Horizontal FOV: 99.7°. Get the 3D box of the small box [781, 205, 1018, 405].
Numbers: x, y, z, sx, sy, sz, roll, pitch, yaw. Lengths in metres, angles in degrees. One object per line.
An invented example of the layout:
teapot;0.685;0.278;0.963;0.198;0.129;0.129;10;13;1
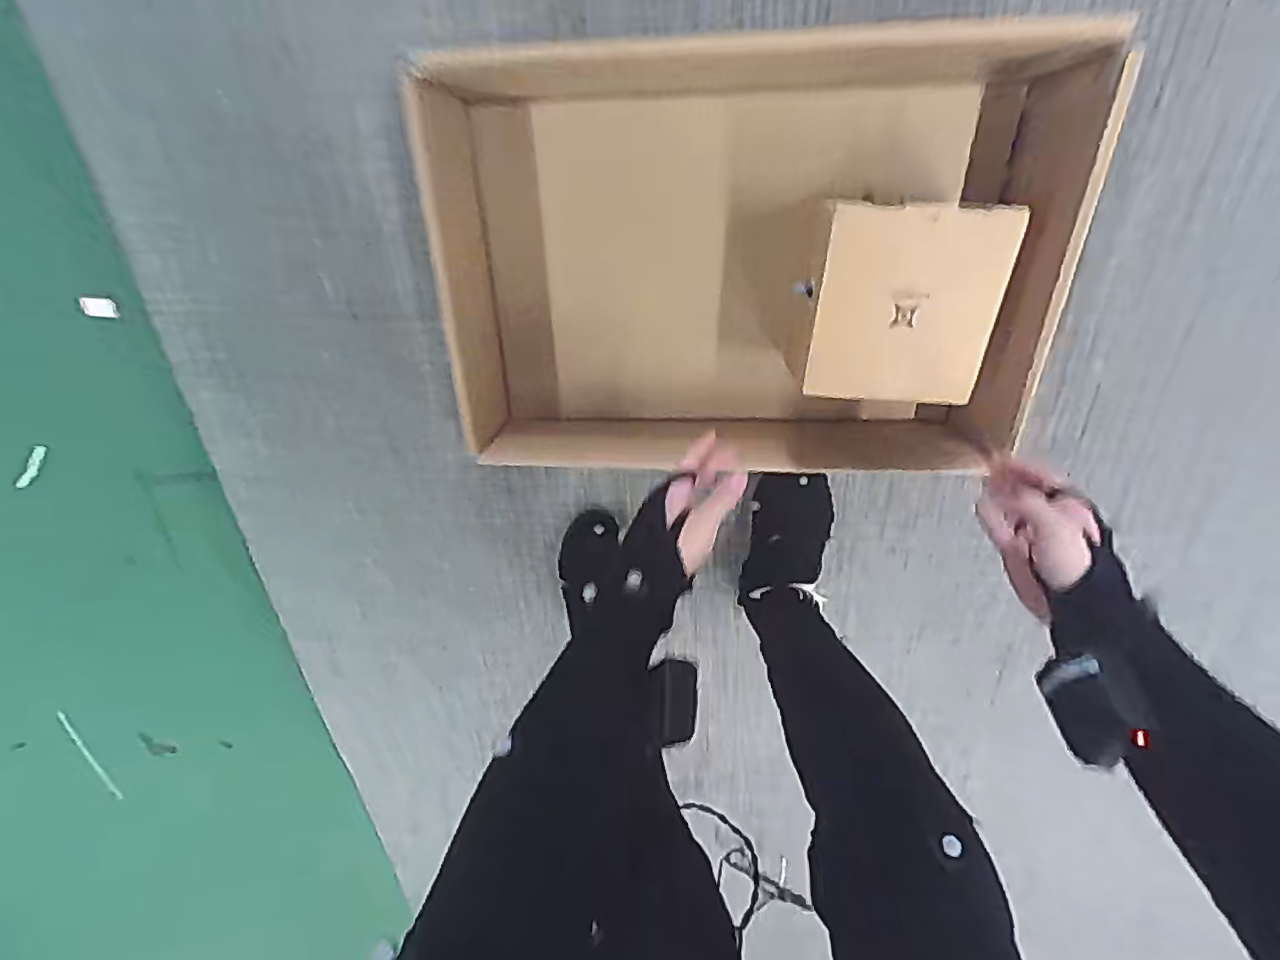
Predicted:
small box;0.252;-0.194;0.581;0.168;0.176;0.179;4;116;4
